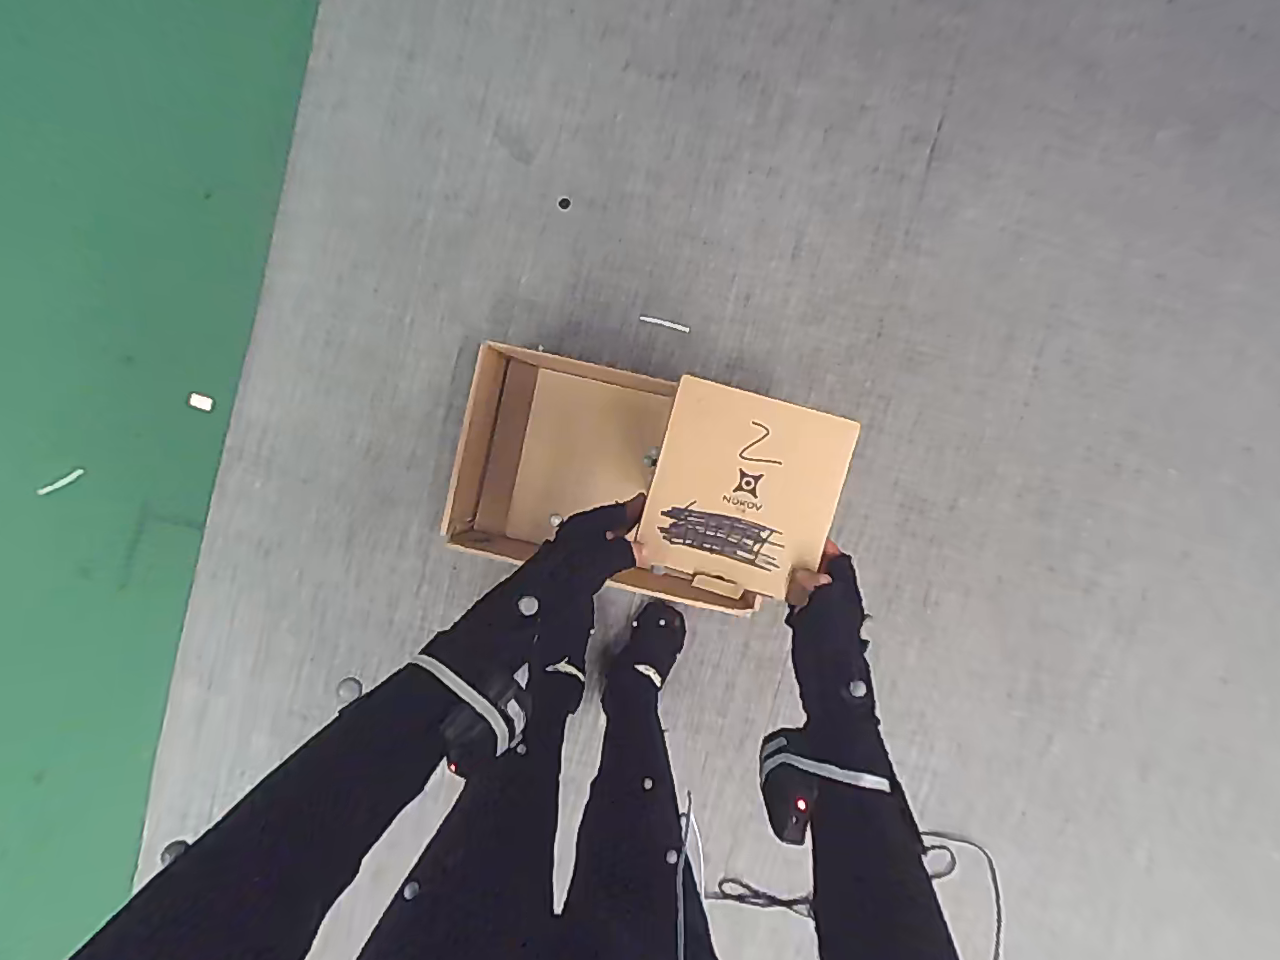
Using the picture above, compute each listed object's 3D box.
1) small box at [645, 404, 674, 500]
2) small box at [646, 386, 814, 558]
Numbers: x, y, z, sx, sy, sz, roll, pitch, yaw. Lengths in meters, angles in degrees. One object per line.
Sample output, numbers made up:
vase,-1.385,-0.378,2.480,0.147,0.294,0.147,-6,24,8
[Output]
small box,0.108,-0.043,1.051,0.168,0.176,0.179,9,93,3
small box,0.110,-0.014,0.723,0.168,0.176,0.179,14,94,0
